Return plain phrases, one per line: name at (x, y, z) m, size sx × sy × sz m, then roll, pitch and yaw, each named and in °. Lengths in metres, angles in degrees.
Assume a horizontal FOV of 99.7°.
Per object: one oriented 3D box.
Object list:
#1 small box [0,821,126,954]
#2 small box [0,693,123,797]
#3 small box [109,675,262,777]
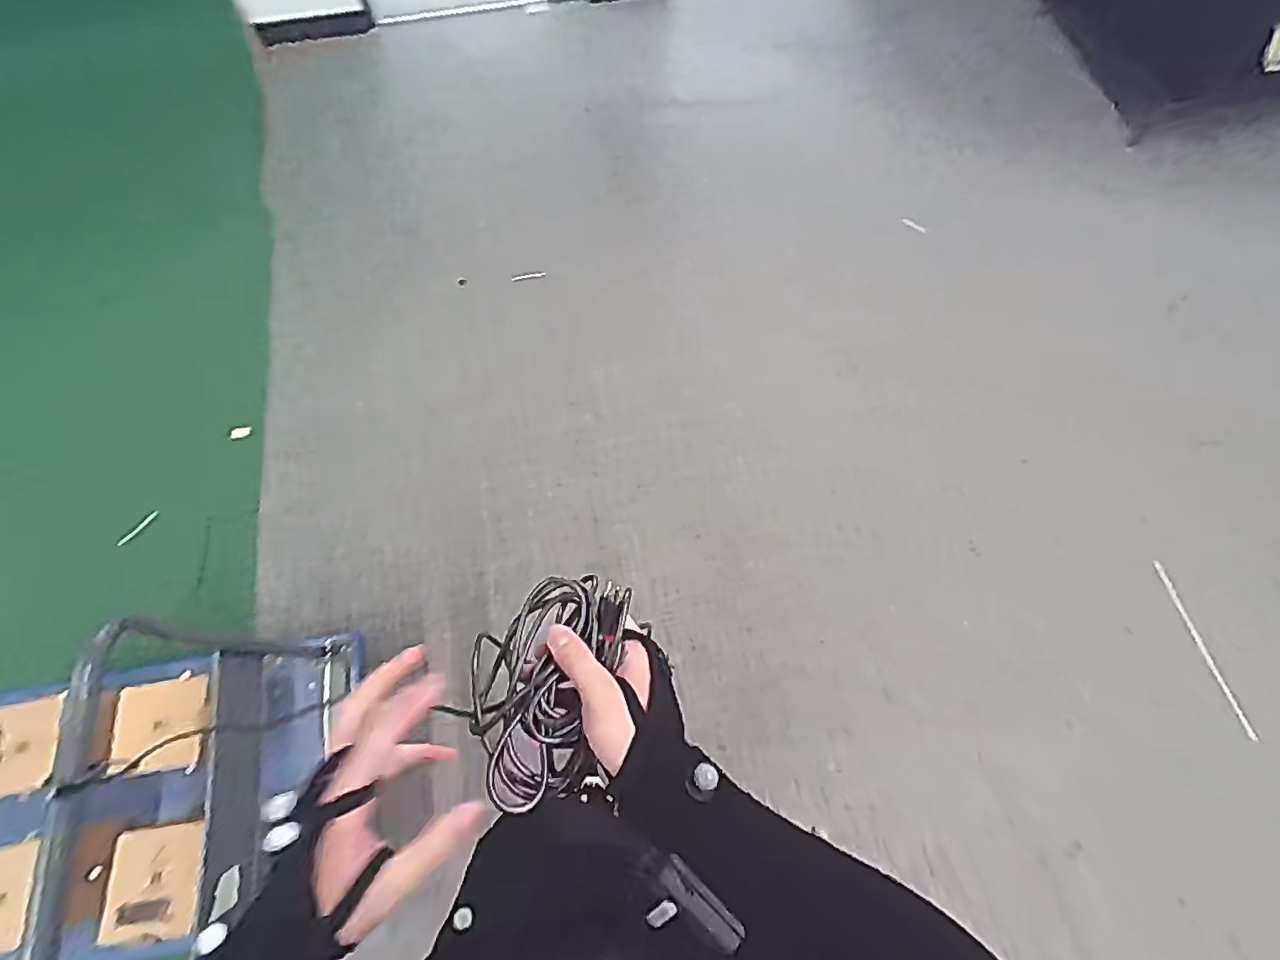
small box at (-1.158, 0.788, 1.047) m, size 0.179 × 0.176 × 0.168 m, roll -13°, pitch 69°, yaw -5°
small box at (-1.216, 0.553, 1.134) m, size 0.179 × 0.176 × 0.168 m, roll -11°, pitch 71°, yaw -6°
small box at (-0.954, 0.517, 1.150) m, size 0.179 × 0.176 × 0.168 m, roll -8°, pitch 70°, yaw -4°
